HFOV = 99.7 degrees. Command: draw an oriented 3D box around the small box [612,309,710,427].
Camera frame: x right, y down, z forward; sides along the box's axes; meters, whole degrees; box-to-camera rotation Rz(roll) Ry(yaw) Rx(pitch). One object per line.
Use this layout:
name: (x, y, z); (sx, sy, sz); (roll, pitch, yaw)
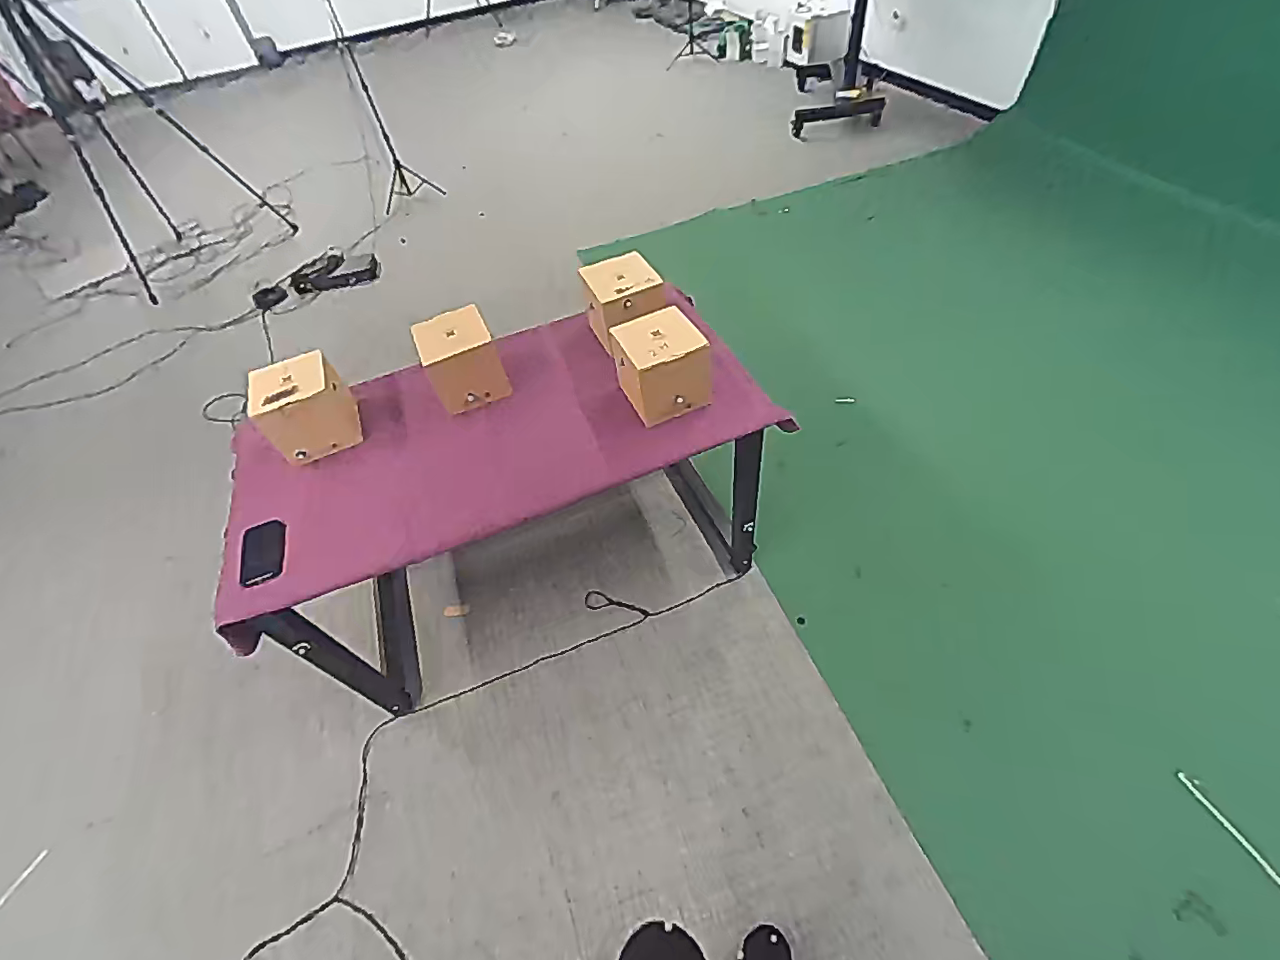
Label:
small box: (0.049, -0.251, 1.224); (0.168, 0.176, 0.179); (-22, 50, -9)

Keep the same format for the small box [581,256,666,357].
small box: (-0.039, -0.445, 1.398); (0.168, 0.176, 0.179); (-22, 51, -10)

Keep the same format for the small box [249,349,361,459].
small box: (-0.779, -0.170, 1.270); (0.168, 0.176, 0.179); (-23, 51, -12)

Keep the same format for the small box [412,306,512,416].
small box: (-0.433, -0.290, 1.325); (0.168, 0.176, 0.179); (-23, 52, -10)
